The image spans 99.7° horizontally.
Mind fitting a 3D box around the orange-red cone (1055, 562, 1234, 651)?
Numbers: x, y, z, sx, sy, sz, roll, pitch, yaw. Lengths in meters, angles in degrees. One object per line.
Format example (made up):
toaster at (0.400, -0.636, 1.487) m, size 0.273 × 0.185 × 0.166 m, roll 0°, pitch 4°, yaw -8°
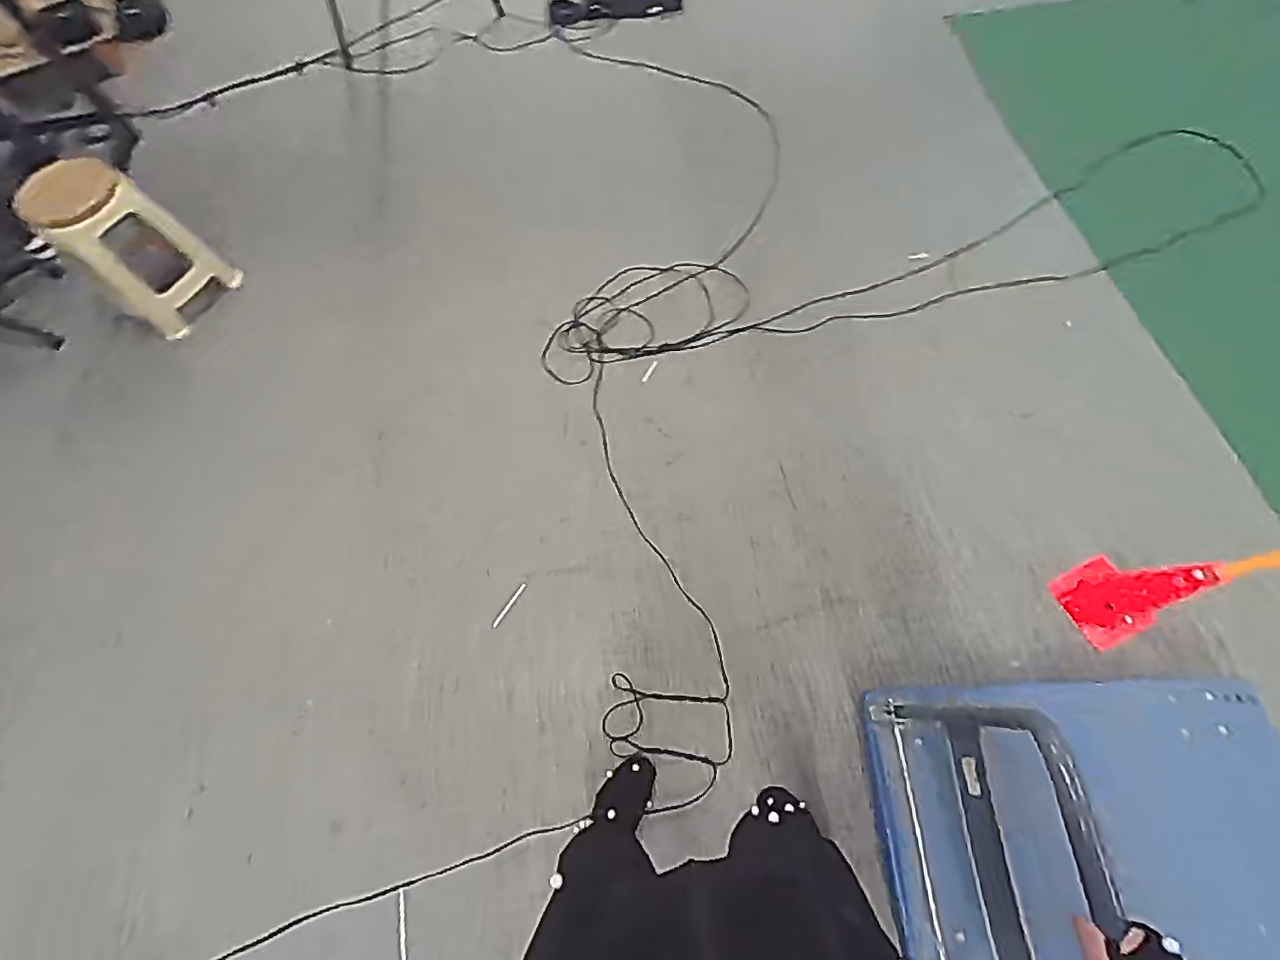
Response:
orange-red cone at (1.244, 0.268, 1.303) m, size 0.198 × 0.360 × 0.199 m, roll -24°, pitch 66°, yaw -8°
